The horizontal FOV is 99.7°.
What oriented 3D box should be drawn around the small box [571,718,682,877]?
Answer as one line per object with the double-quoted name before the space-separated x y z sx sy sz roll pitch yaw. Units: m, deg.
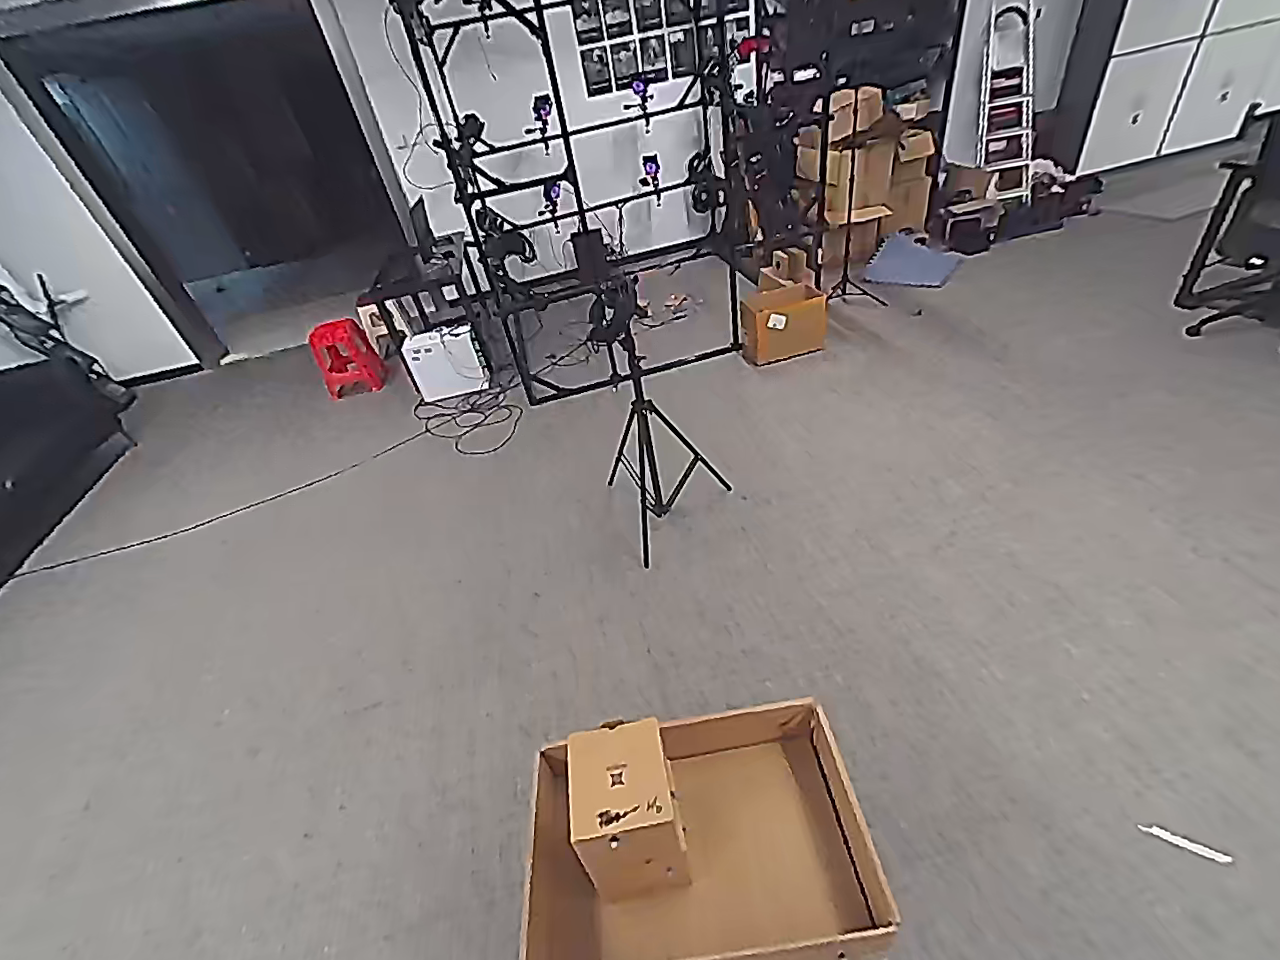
"small box" -0.025 0.555 0.949 0.168 0.176 0.179 -11 37 -1
